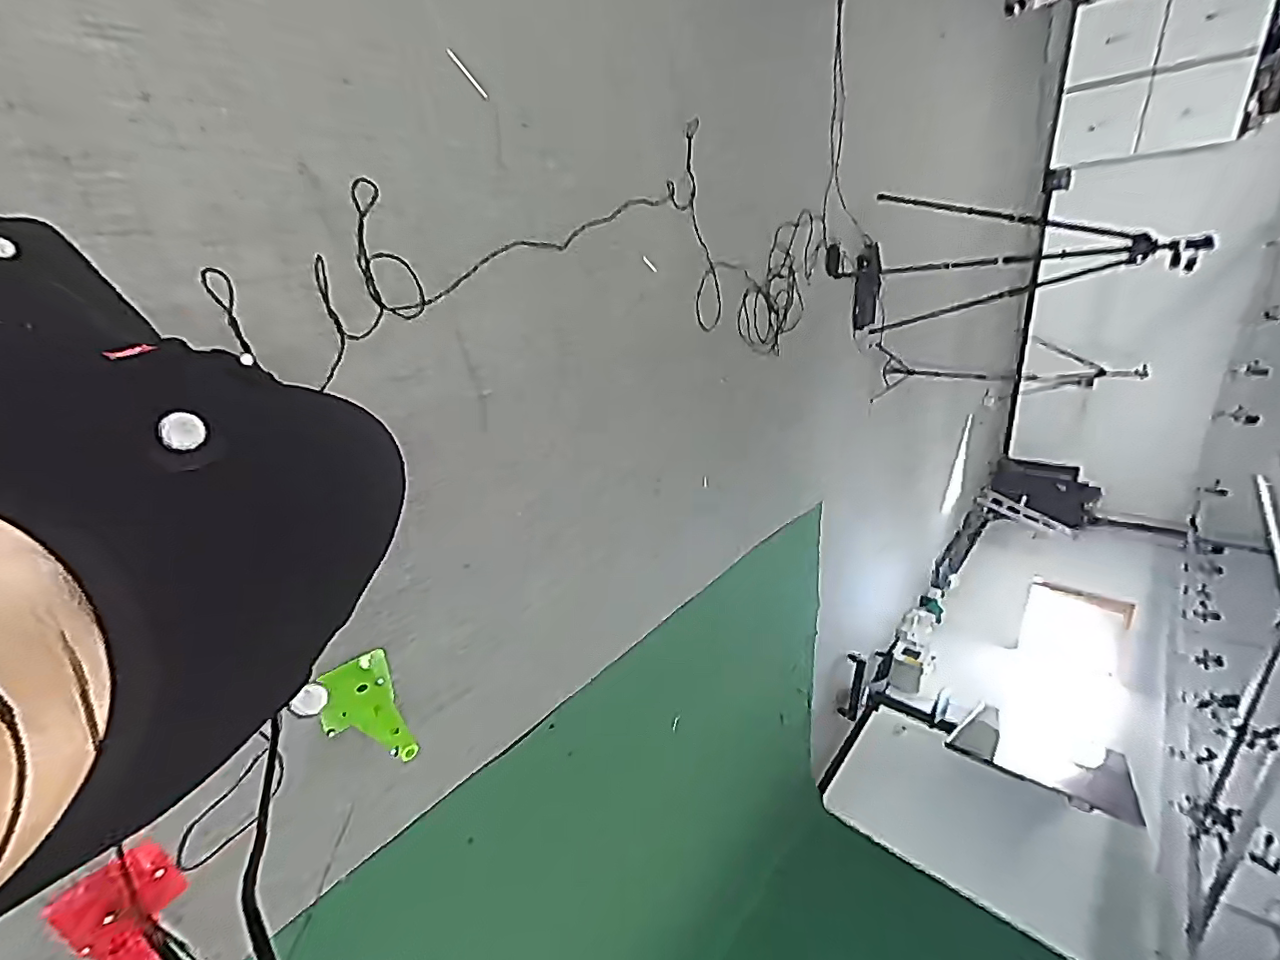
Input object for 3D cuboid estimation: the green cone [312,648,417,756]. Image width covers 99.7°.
[{"bbox_3d":[-0.707,0.645,1.473,0.200,0.368,0.202,-24,117,-43],"label":"green cone"}]
